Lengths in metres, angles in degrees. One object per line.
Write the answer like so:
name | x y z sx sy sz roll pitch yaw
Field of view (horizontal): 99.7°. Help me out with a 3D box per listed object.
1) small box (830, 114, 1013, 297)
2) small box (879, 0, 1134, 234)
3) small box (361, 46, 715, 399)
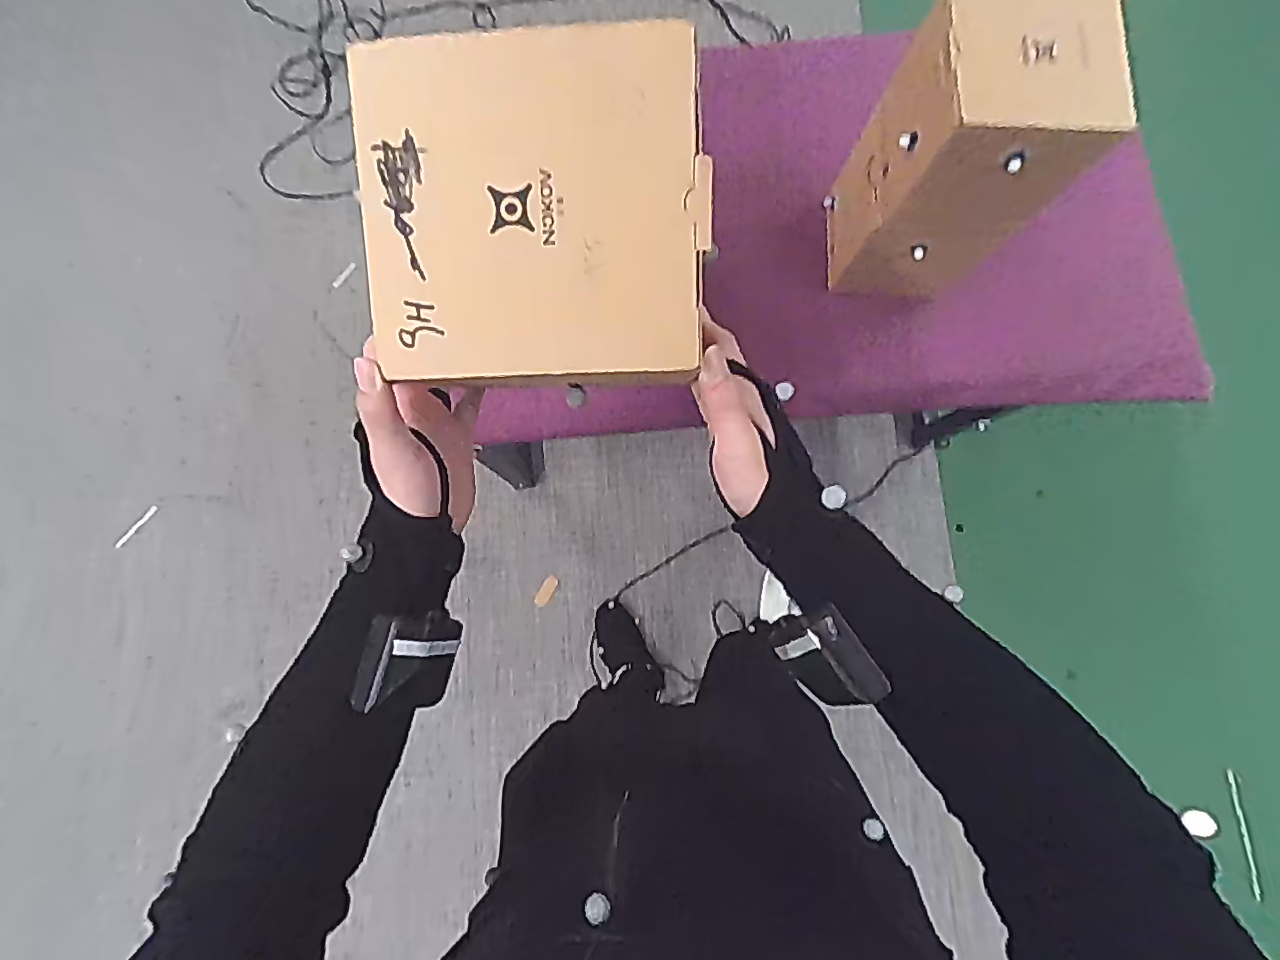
small box | 0.380 -0.375 0.764 0.179 0.176 0.168 2 81 -2
small box | 0.384 -0.398 0.603 0.179 0.176 0.168 2 82 -2
small box | -0.048 -0.140 0.354 0.179 0.176 0.168 -1 97 2
